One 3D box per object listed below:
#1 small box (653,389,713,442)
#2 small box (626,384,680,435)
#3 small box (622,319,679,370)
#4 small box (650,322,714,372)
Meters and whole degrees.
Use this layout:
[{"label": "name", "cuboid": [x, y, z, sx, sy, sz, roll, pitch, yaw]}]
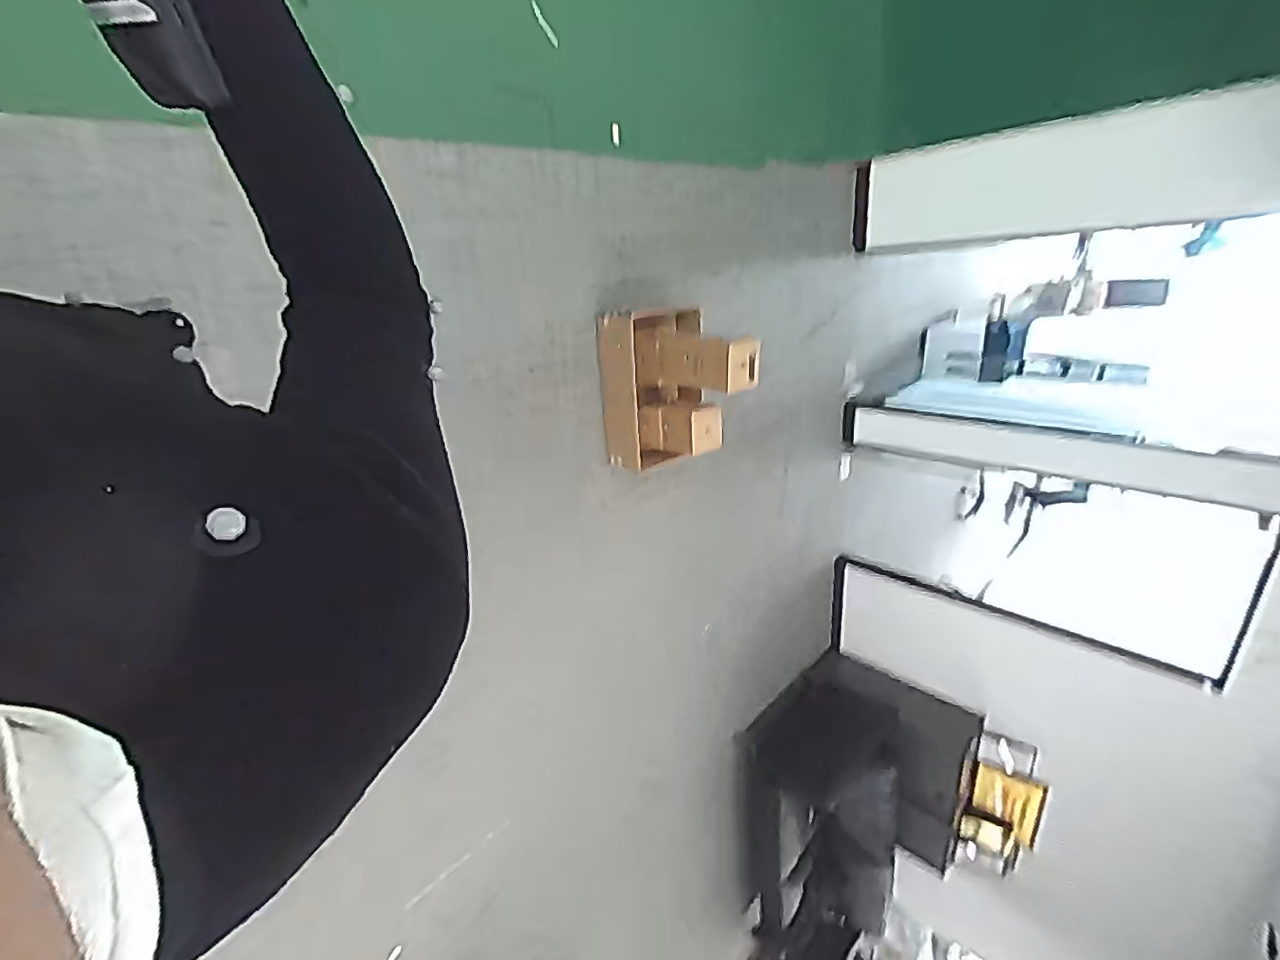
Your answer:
[{"label": "small box", "cuboid": [0.170, -0.260, 2.120, 0.179, 0.176, 0.168, -21, 116, -40]}, {"label": "small box", "cuboid": [0.053, -0.294, 2.229, 0.179, 0.176, 0.168, -24, 120, -39]}, {"label": "small box", "cuboid": [0.040, -0.536, 2.130, 0.179, 0.176, 0.168, -24, 122, -38]}, {"label": "small box", "cuboid": [0.157, -0.501, 2.019, 0.179, 0.176, 0.168, -19, 117, -42]}]
